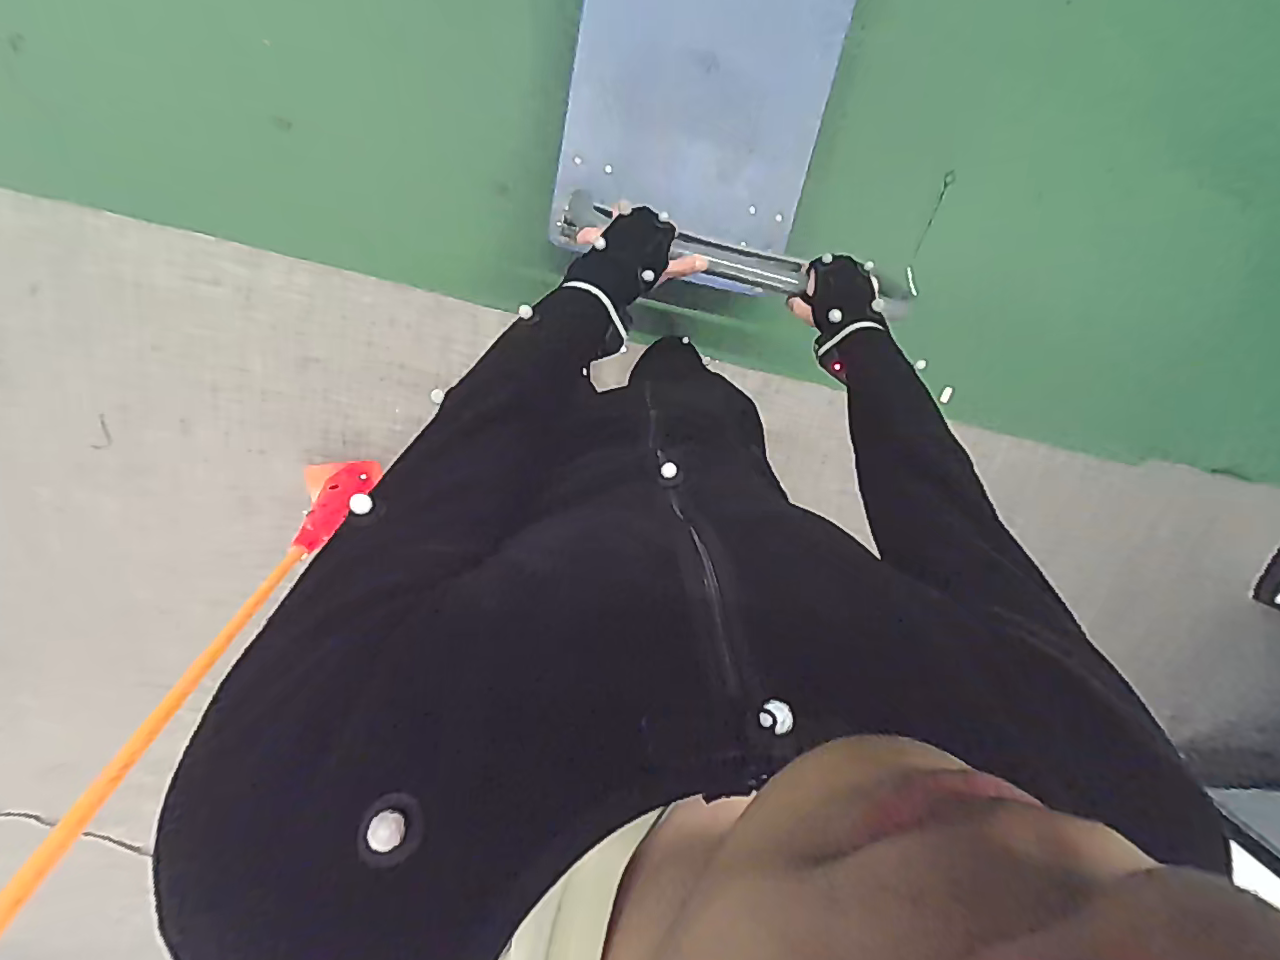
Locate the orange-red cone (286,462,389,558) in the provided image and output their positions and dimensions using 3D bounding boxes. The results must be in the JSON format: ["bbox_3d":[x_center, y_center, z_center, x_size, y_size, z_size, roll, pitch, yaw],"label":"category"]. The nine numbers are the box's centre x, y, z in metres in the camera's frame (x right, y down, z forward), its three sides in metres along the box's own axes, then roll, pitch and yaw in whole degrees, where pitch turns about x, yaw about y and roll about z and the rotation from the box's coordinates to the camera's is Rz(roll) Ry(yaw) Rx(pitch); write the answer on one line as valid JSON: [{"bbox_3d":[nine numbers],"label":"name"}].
[{"bbox_3d":[-0.801,0.102,1.372,0.199,0.360,0.198,-3,110,-7],"label":"orange-red cone"}]
